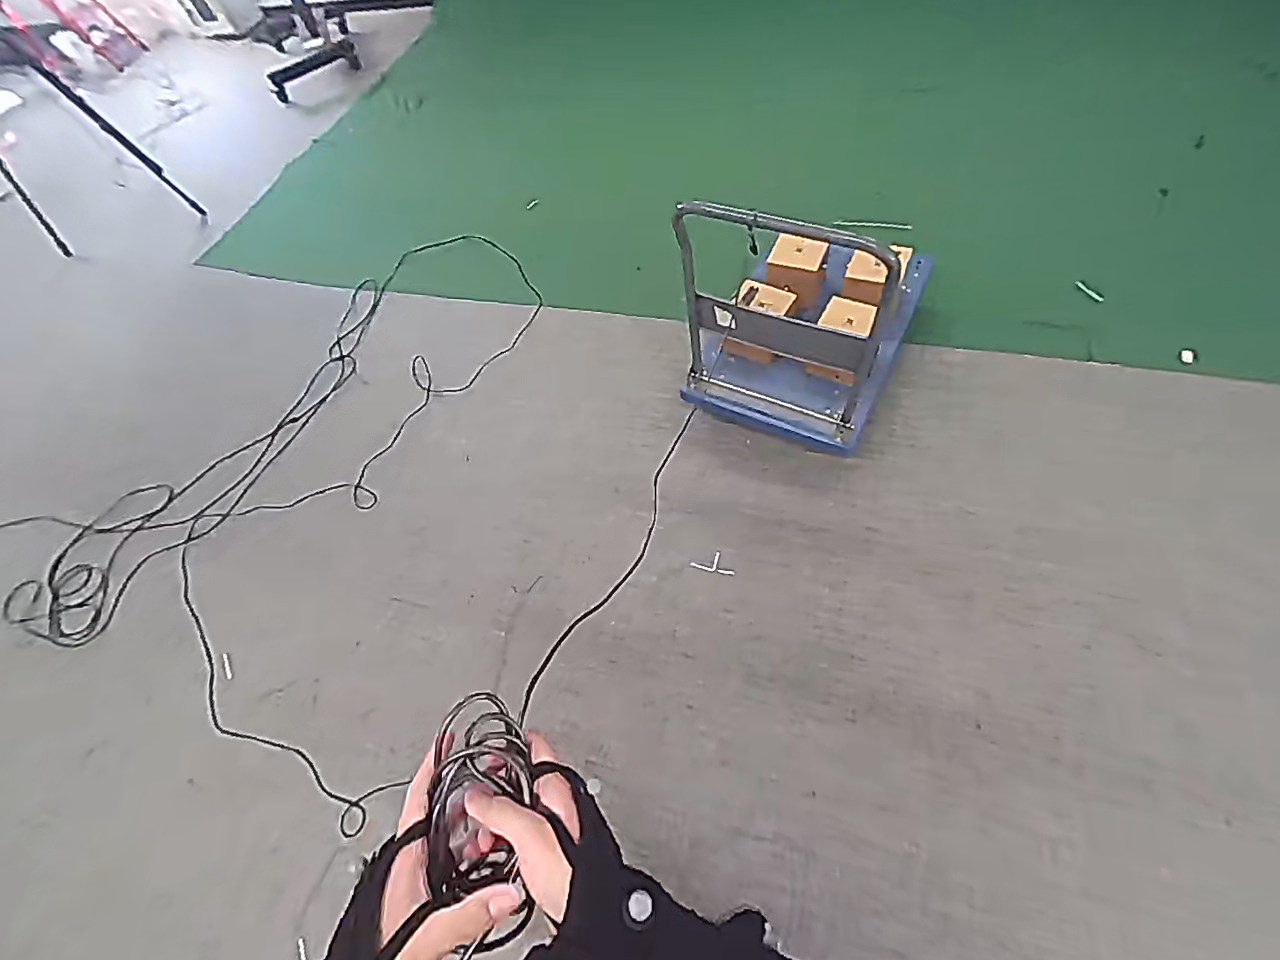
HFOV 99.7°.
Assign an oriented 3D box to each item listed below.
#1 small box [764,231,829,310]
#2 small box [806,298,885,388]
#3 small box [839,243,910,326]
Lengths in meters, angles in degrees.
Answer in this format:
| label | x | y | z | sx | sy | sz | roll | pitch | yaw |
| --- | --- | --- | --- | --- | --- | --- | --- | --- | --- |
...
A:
| label | x | y | z | sx | sy | sz | roll | pitch | yaw |
| --- | --- | --- | --- | --- | --- | --- | --- | --- | --- |
| small box | 0.529 | -0.711 | 1.842 | 0.168 | 0.176 | 0.179 | 20 | 66 | 19 |
| small box | 0.623 | -0.418 | 1.660 | 0.168 | 0.176 | 0.179 | 24 | 68 | 21 |
| small box | 0.754 | -0.634 | 1.757 | 0.168 | 0.176 | 0.179 | 19 | 66 | 20 |
